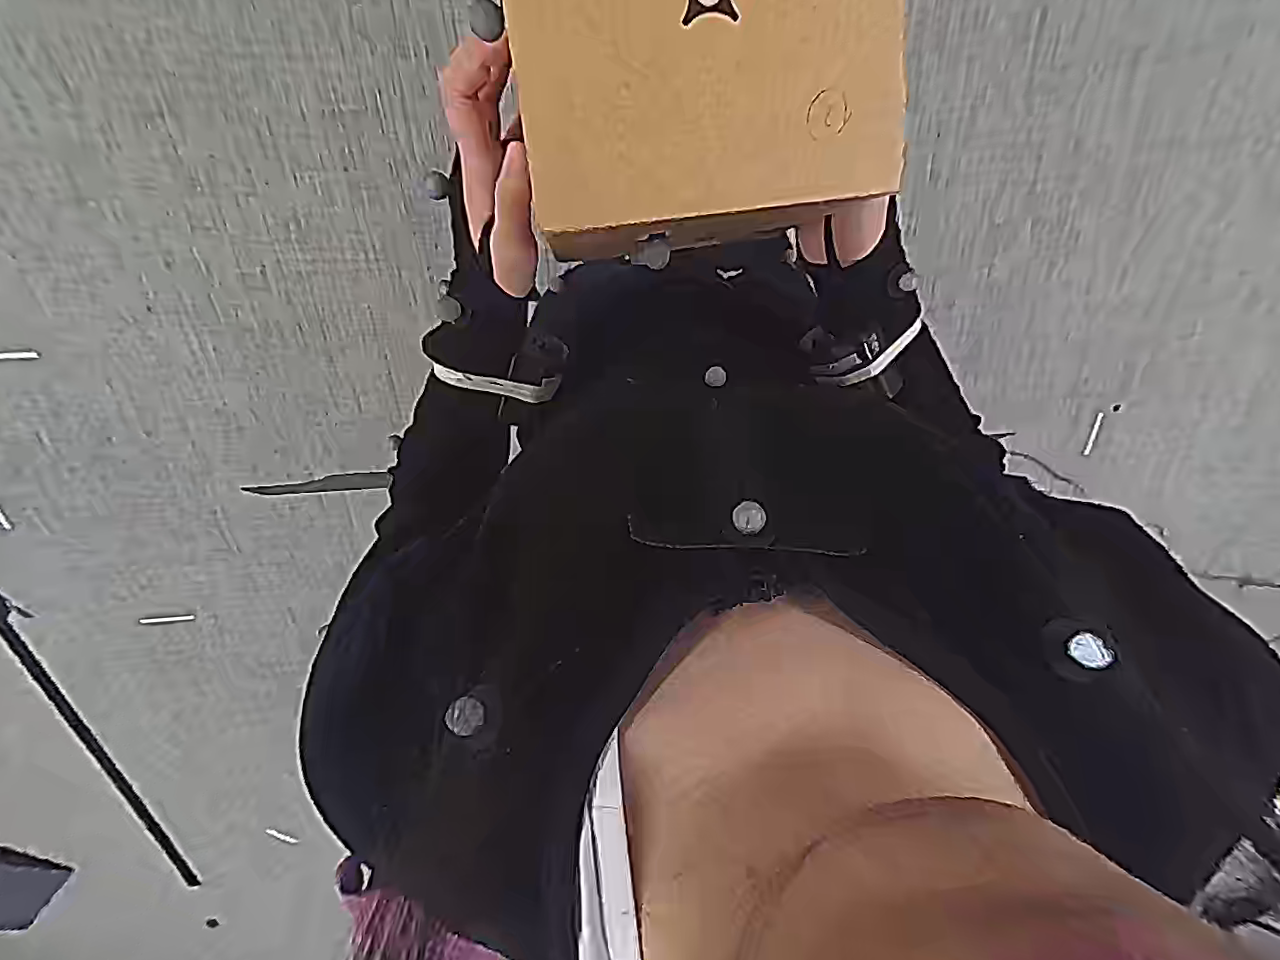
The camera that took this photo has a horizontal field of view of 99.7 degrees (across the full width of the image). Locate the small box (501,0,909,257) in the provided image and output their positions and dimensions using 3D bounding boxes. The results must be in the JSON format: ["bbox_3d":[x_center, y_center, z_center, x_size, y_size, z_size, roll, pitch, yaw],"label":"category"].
[{"bbox_3d":[0.020,-0.222,0.288,0.168,0.176,0.179,-9,108,-3],"label":"small box"}]

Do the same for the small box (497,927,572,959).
[{"bbox_3d":[-0.239,1.153,1.219,0.168,0.176,0.179,0,116,-7],"label":"small box"}]
